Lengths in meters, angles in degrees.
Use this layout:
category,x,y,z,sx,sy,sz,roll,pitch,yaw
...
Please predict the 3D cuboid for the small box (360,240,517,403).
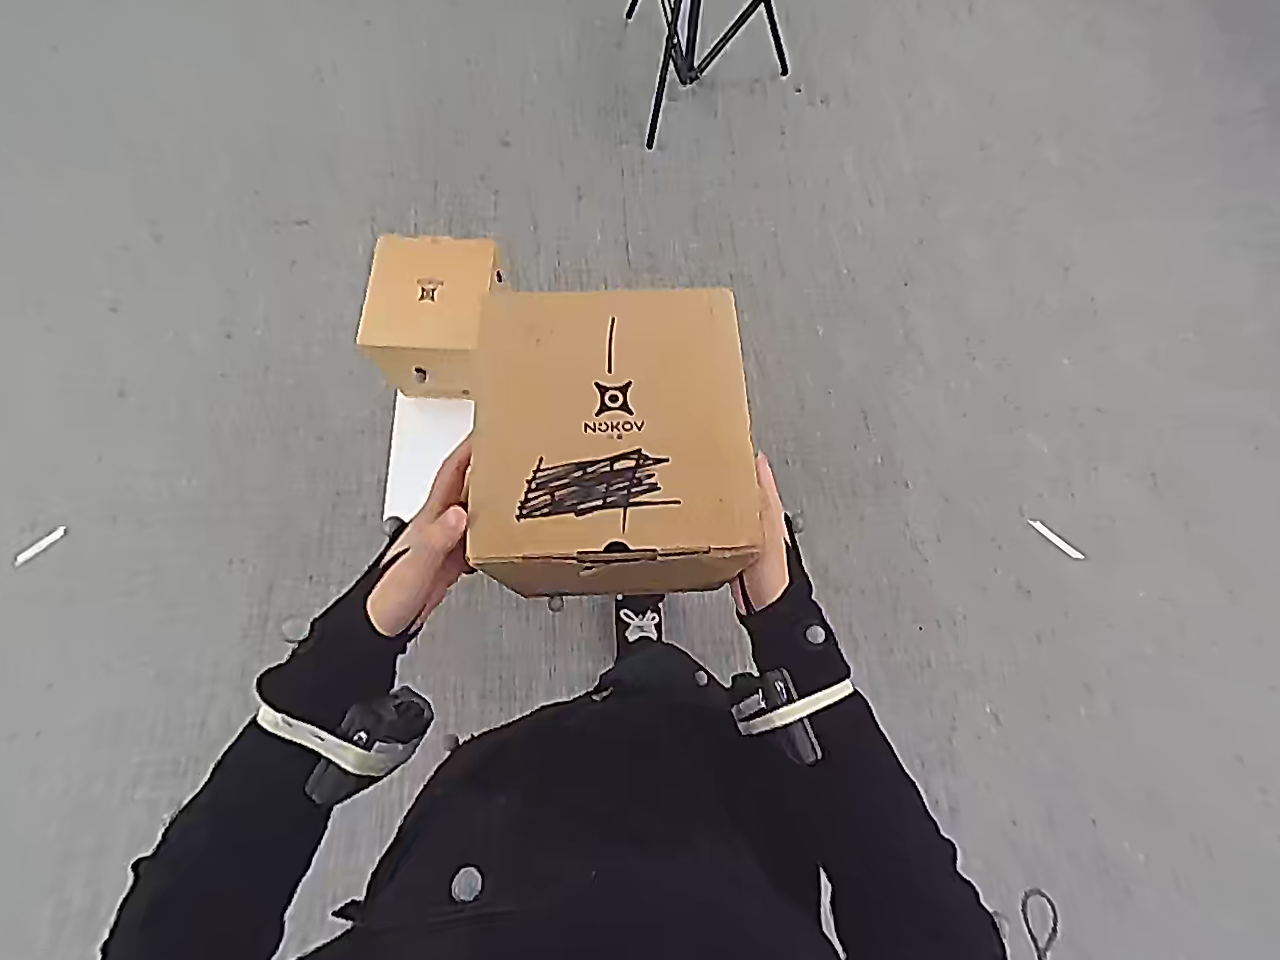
category,x,y,z,sx,sy,sz,roll,pitch,yaw
small box,-0.286,-0.226,0.806,0.168,0.176,0.179,2,73,-1
